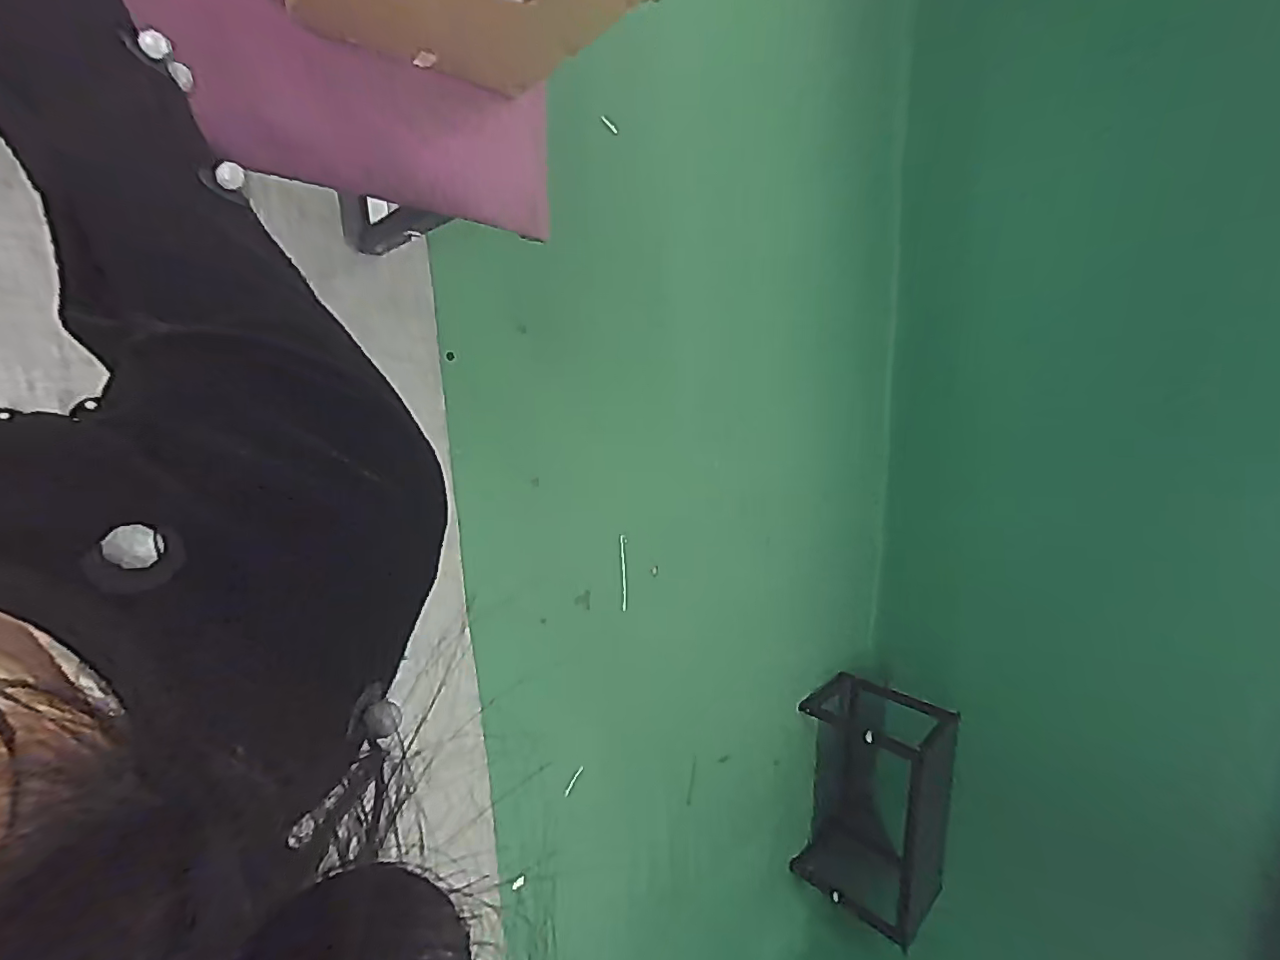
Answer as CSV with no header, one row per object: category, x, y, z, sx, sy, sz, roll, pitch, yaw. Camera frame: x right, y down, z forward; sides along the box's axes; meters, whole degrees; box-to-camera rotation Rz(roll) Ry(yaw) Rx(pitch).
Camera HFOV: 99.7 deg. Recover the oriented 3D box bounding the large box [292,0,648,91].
large box,-0.202,-0.743,0.584,0.320,0.320,0.408,-12,106,-41
